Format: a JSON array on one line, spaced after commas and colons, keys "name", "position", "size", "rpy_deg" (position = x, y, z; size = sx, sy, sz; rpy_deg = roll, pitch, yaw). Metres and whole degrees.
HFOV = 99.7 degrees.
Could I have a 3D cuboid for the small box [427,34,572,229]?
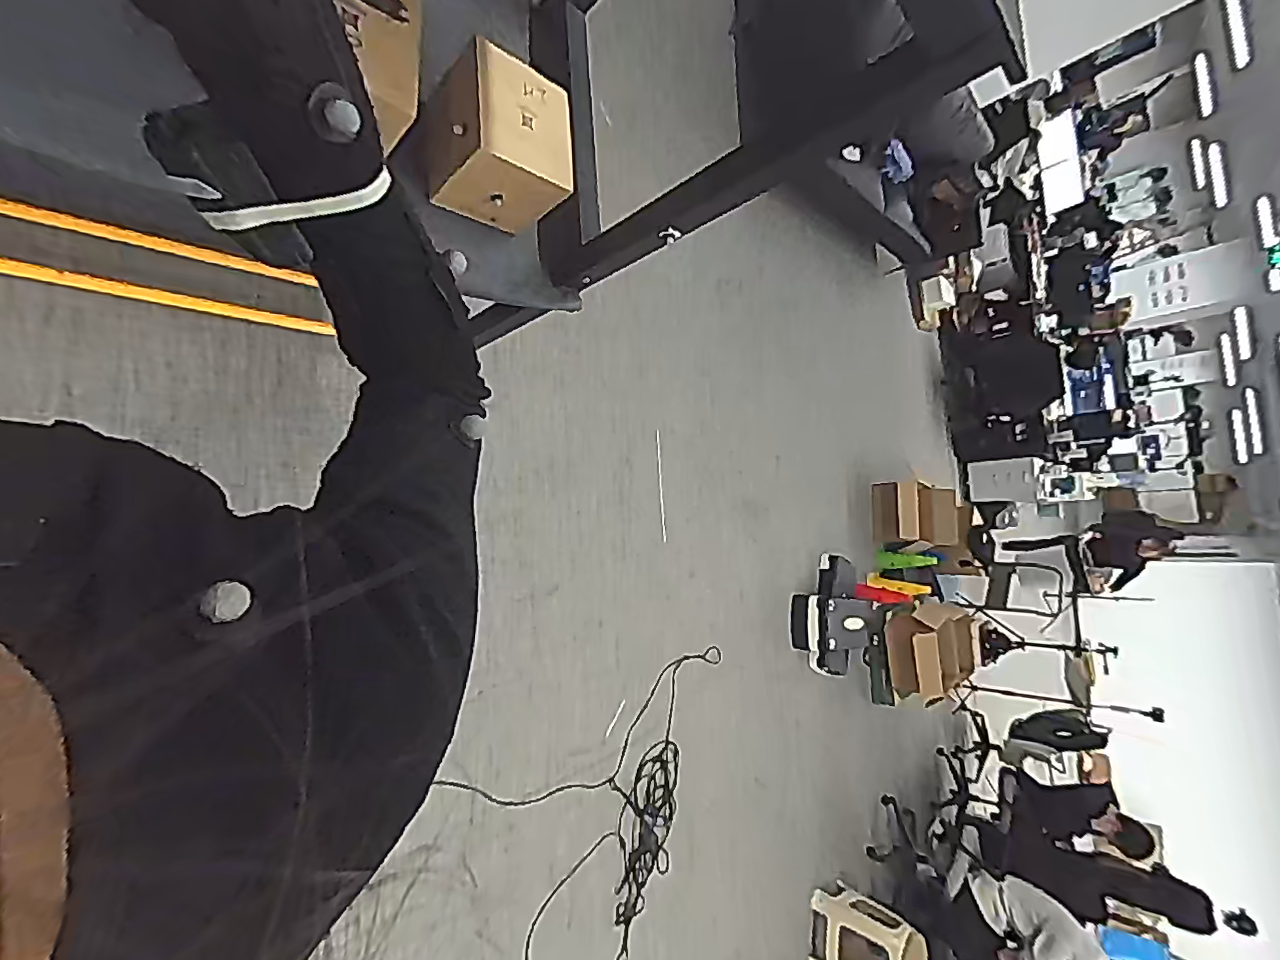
[{"name": "small box", "position": [-0.229, -0.540, 0.873], "size": [0.168, 0.176, 0.179], "rpy_deg": [1, 83, -46]}]
